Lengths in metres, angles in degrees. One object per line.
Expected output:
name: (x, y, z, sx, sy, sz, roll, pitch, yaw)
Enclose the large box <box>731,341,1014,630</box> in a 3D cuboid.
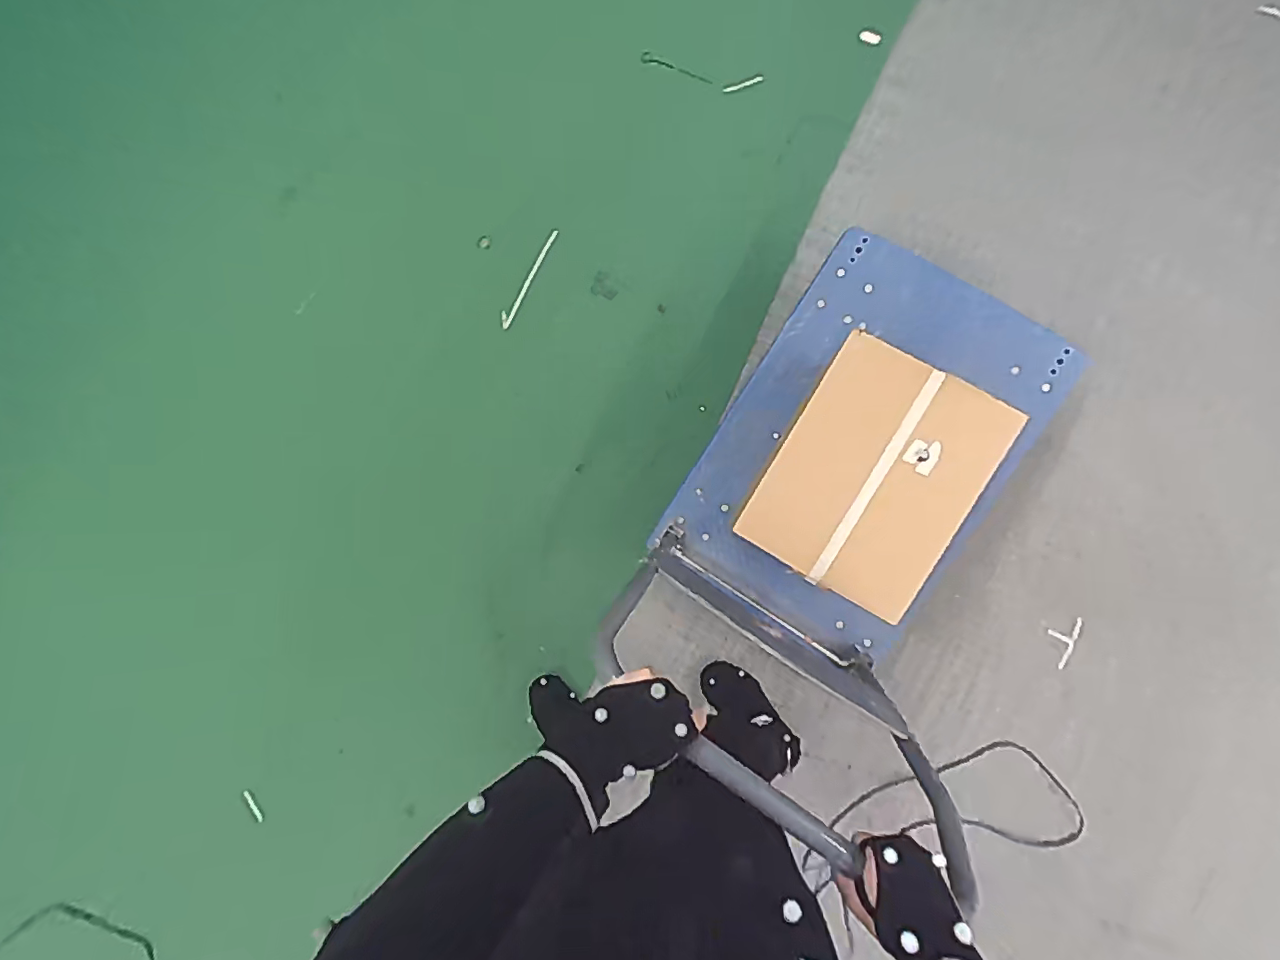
large box: (0.406, 0.012, 1.057, 0.320, 0.320, 0.408, 31, 94, 7)
